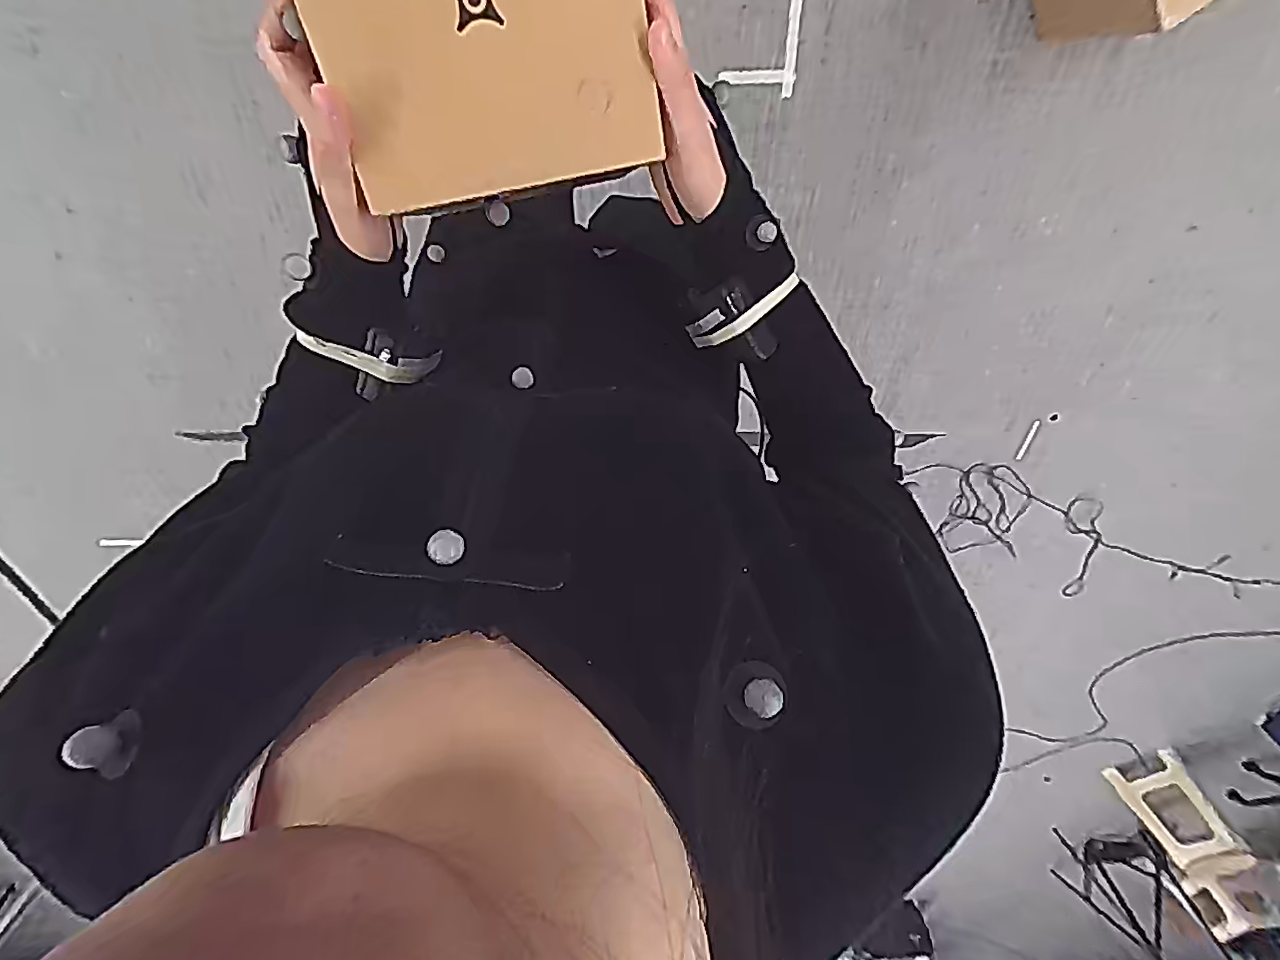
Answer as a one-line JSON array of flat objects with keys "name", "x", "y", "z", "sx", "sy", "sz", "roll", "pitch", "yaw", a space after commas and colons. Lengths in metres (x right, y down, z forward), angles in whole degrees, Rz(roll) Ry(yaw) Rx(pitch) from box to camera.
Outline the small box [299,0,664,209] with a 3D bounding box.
[{"name": "small box", "x": -0.090, "y": -0.273, "z": 0.327, "sx": 0.168, "sy": 0.176, "sz": 0.179, "roll": -13, "pitch": 116, "yaw": -3}]
